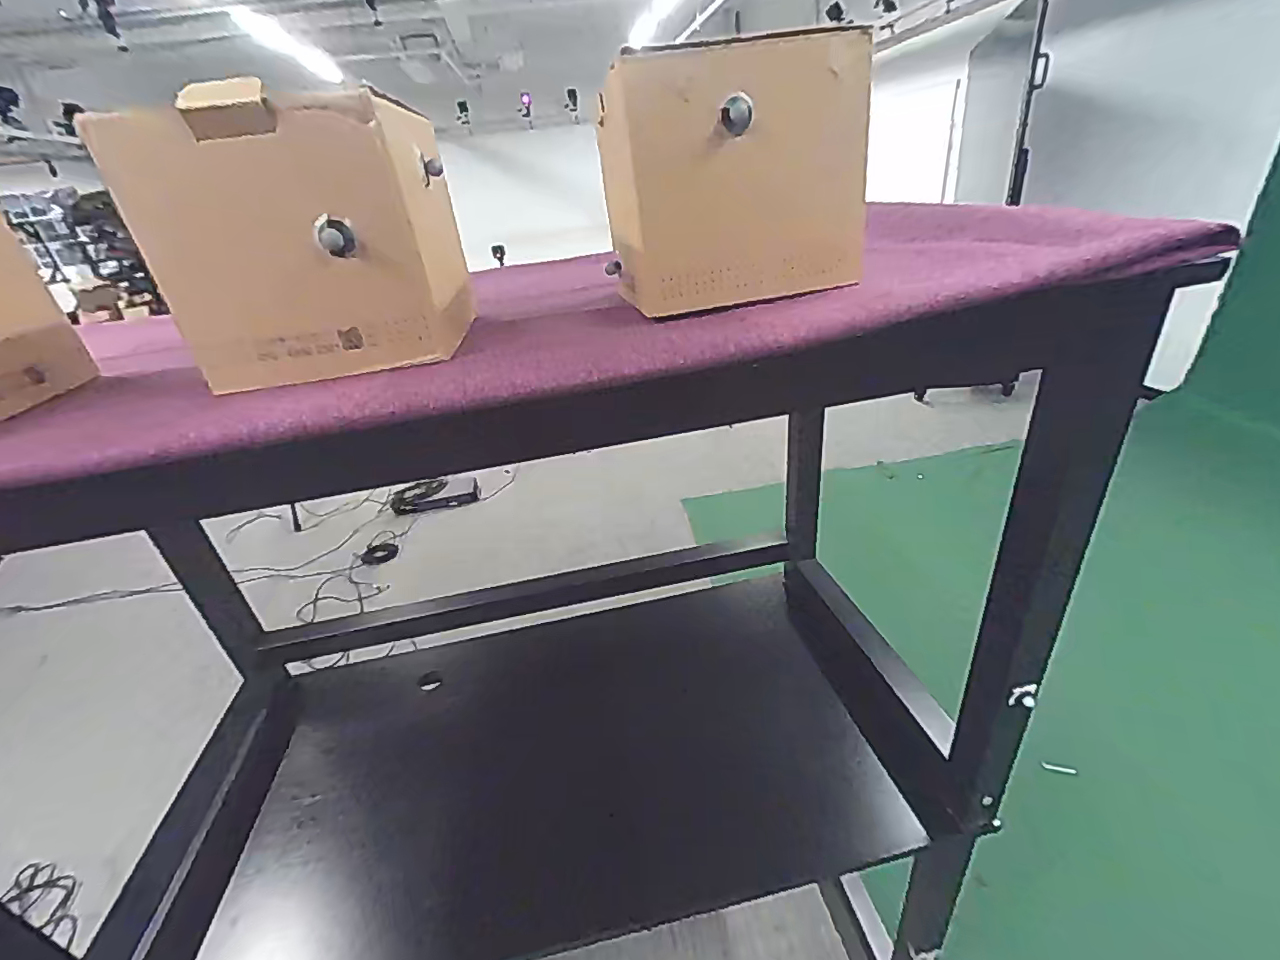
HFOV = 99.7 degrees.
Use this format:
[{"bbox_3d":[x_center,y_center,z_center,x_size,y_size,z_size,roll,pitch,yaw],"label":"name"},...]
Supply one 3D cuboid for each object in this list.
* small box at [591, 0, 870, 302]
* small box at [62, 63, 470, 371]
[{"bbox_3d":[0.065,-0.251,0.447,0.179,0.176,0.168,-11,27,-6],"label":"small box"},{"bbox_3d":[-0.238,-0.187,0.409,0.168,0.176,0.179,-9,28,-5],"label":"small box"}]
